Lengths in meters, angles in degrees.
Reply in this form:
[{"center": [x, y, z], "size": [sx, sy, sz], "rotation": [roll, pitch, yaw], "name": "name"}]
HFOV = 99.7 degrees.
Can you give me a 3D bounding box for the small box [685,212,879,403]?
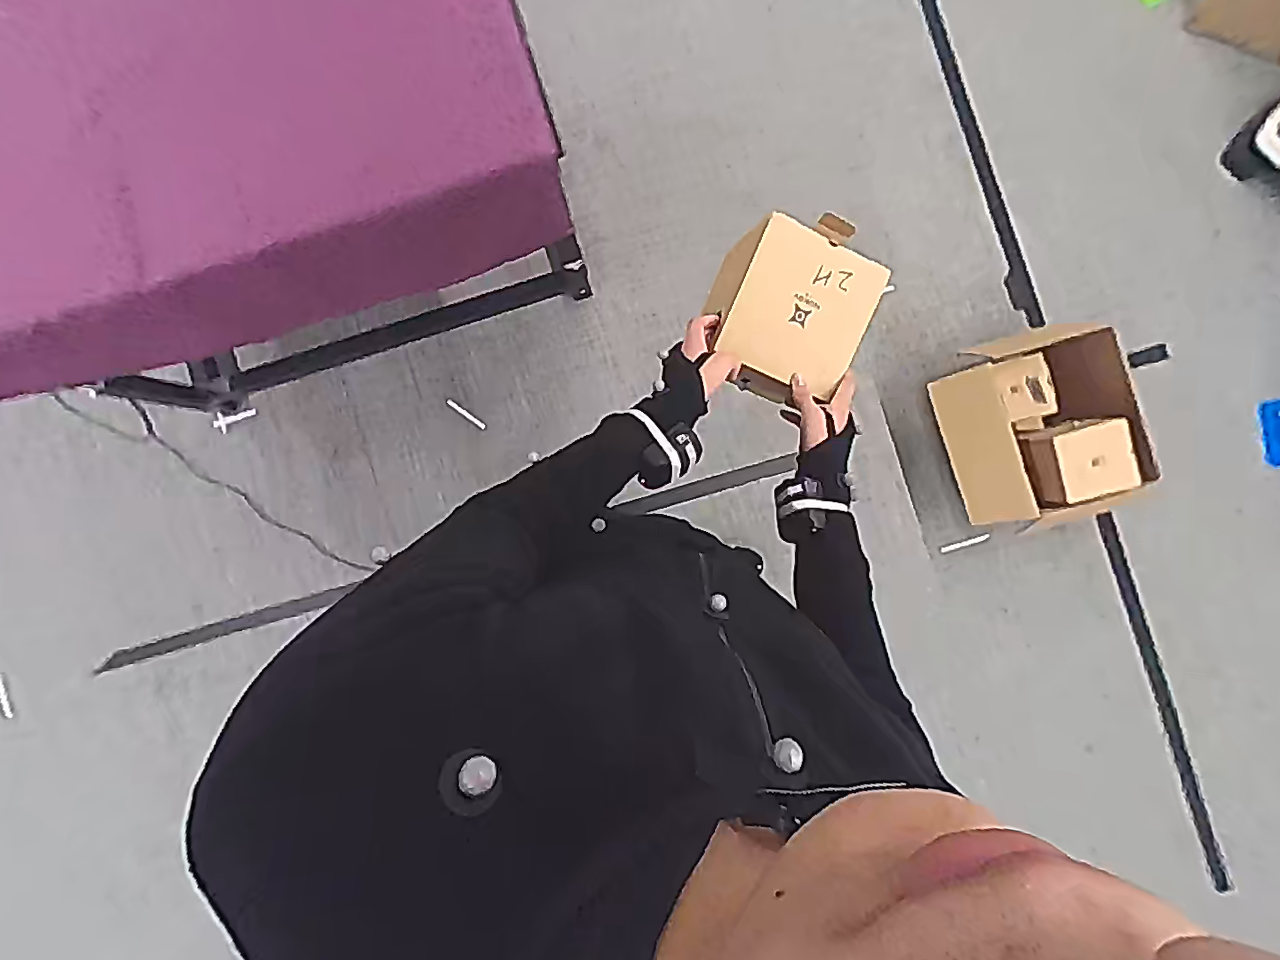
[{"center": [0.173, -0.213, 0.722], "size": [0.168, 0.176, 0.179], "rotation": [21, 94, -11], "name": "small box"}]
